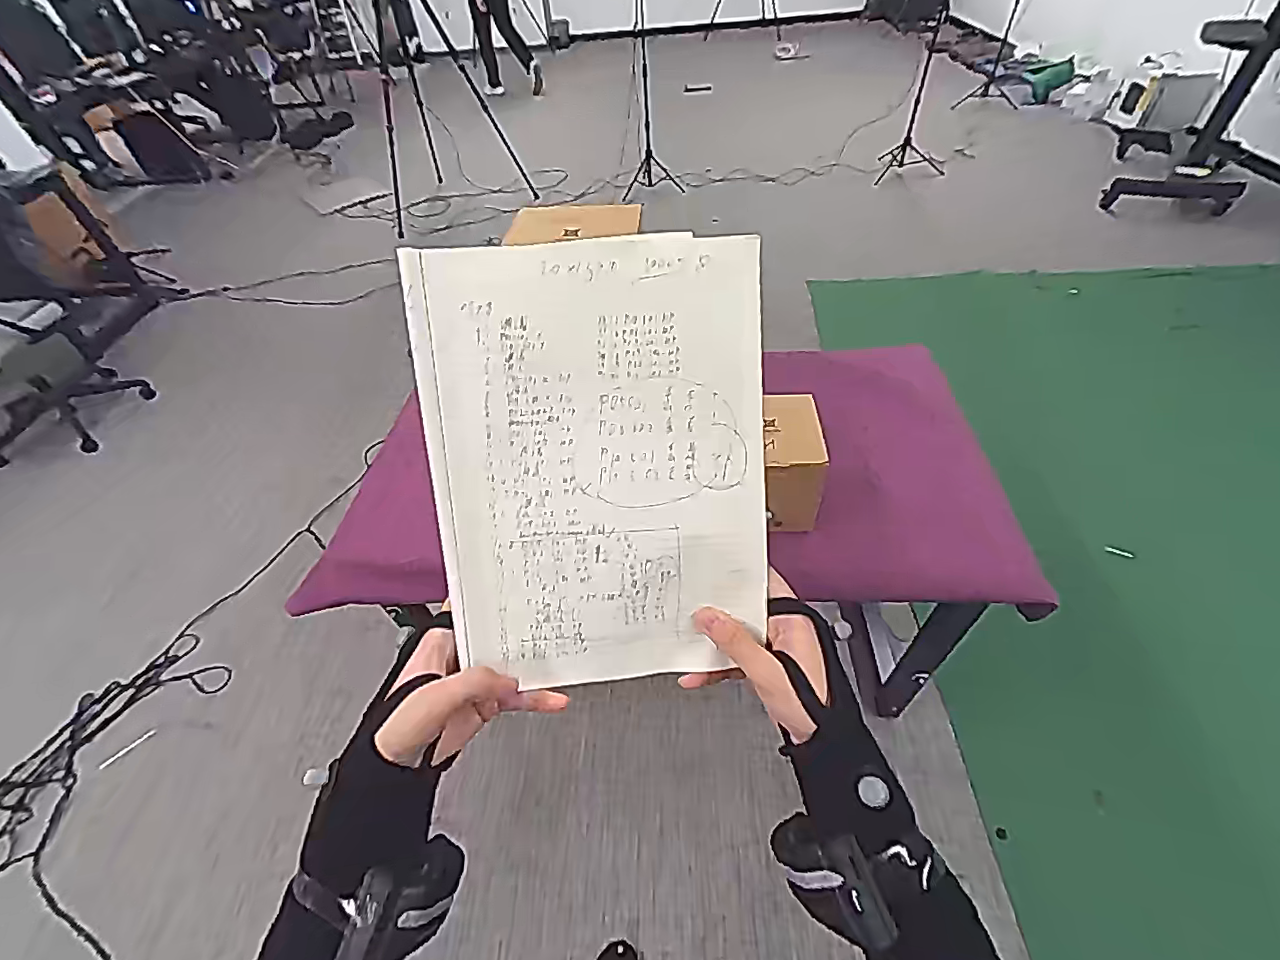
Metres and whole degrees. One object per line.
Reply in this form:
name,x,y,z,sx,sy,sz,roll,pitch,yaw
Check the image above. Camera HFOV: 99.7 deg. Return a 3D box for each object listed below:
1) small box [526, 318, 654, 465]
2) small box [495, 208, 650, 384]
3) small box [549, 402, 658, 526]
small box,-0.066,-0.138,0.853,0.168,0.176,0.179,1,47,5
small box,-0.075,-0.244,0.729,0.168,0.176,0.179,2,47,5
small box,-0.055,-0.031,0.978,0.168,0.176,0.179,1,48,5
